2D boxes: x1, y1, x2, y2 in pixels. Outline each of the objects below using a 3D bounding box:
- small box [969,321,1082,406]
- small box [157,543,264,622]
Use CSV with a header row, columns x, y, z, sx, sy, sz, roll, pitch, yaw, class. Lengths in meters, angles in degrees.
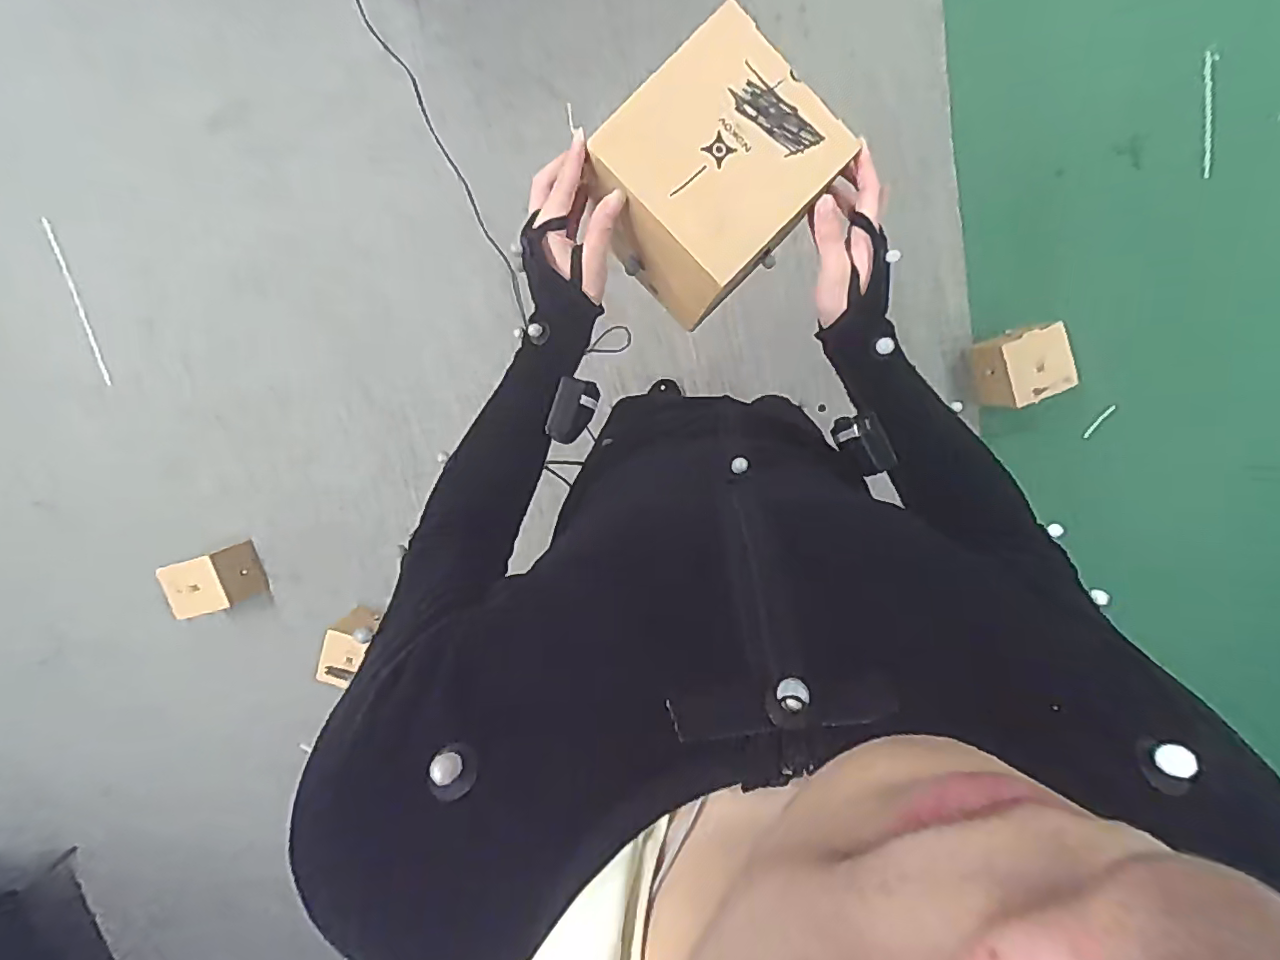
x,y,z,sx,sy,sz,roll,pitch,yaw,class
1.033,-0.310,1.465,0.168,0.176,0.179,-22,99,5,small box
-1.286,0.303,1.639,0.179,0.176,0.168,-15,99,4,small box
